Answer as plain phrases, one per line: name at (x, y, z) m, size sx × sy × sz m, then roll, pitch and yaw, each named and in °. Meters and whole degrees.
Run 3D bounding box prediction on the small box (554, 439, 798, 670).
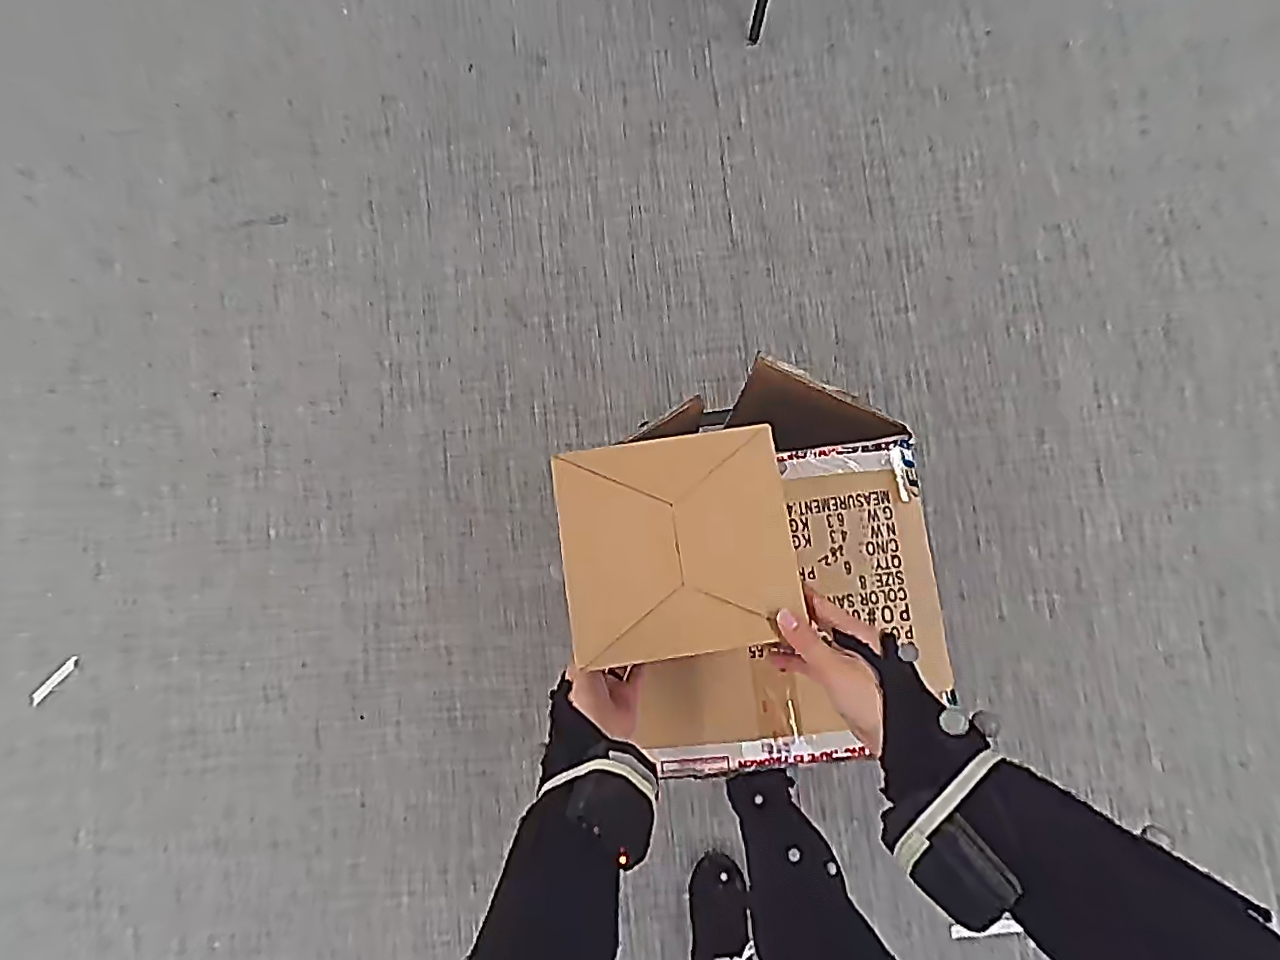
small box at (0.028, 0.067, 0.494) m, size 0.179 × 0.176 × 0.168 m, roll -8°, pitch 80°, yaw -2°
